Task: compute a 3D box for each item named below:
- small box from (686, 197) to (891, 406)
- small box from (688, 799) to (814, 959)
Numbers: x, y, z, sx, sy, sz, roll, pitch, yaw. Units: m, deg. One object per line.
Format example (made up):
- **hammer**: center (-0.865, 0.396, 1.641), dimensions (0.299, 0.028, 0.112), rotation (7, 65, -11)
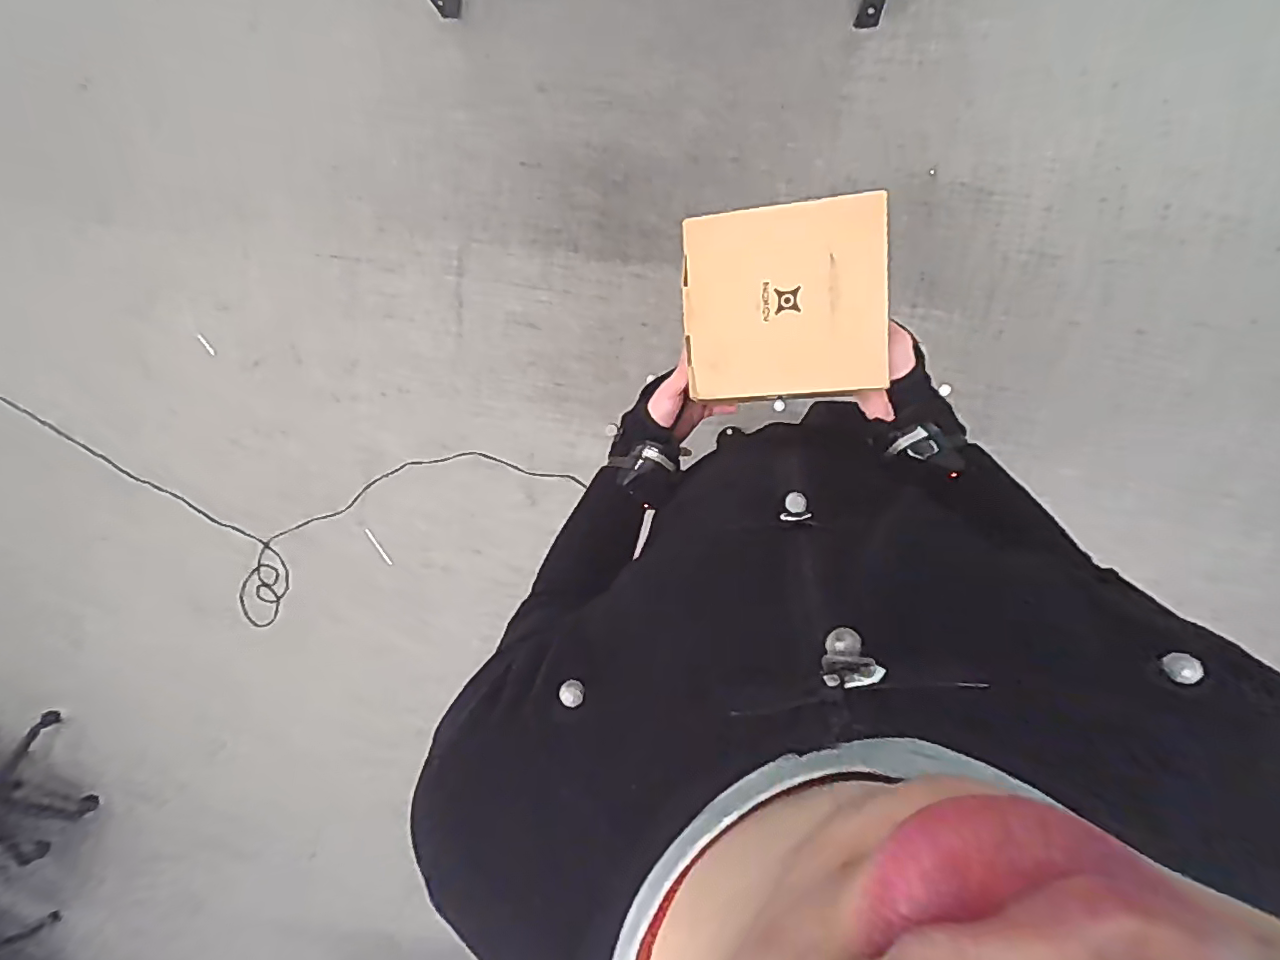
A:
- **small box**: center (0.149, -0.164, 0.559), dimensions (0.179, 0.176, 0.168), rotation (-2, 97, 13)
- **small box**: center (0.188, 0.691, 0.931), dimensions (0.179, 0.176, 0.168), rotation (9, 98, 10)
